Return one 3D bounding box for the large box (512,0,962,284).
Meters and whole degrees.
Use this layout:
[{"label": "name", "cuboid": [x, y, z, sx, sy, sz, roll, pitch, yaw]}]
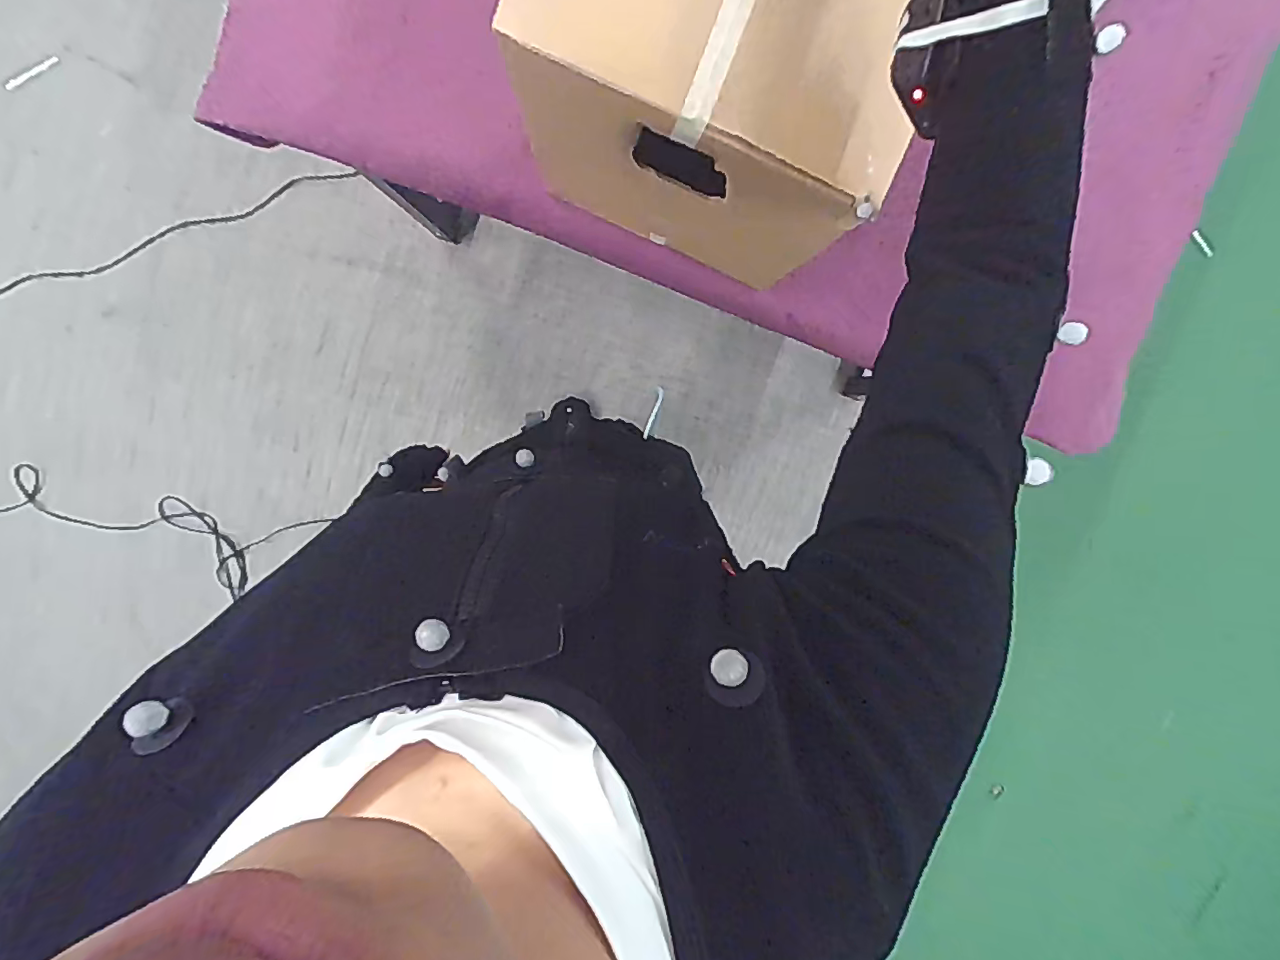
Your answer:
[{"label": "large box", "cuboid": [0.107, -0.472, 0.540, 0.320, 0.320, 0.408, 22, 98, -6]}]
